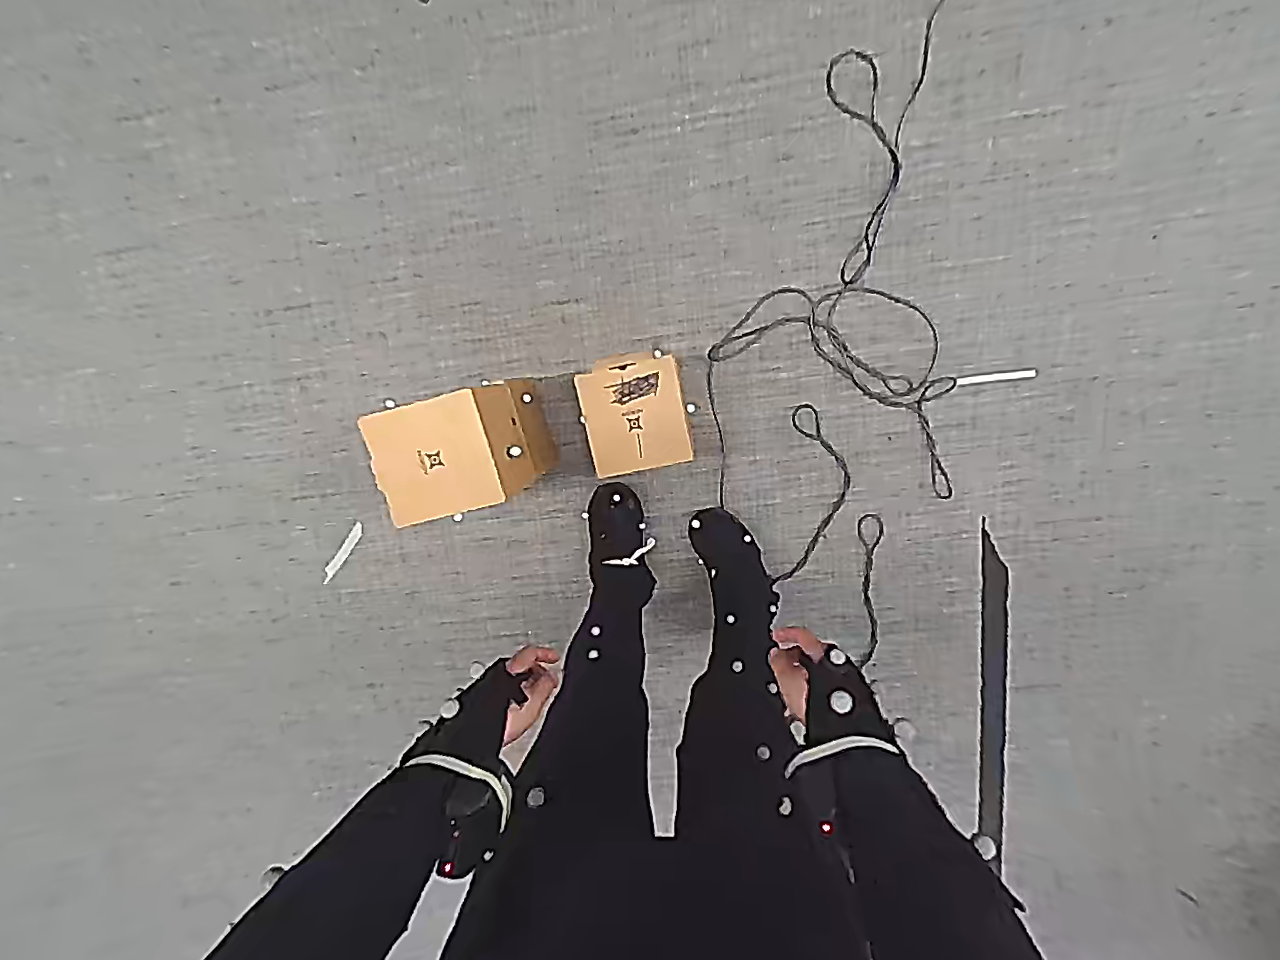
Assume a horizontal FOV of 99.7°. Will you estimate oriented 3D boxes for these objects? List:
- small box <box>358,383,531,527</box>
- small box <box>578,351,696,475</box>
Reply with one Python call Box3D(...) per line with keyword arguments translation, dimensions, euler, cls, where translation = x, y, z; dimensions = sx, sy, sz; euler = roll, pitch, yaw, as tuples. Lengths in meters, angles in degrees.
Box3D(translation=(-0.278, -0.046, 0.821), dimensions=(0.179, 0.176, 0.168), euler=(-14, 100, 8), cls="small box")
Box3D(translation=(0.001, -0.121, 0.946), dimensions=(0.168, 0.176, 0.179), euler=(-11, 102, 8), cls="small box")
